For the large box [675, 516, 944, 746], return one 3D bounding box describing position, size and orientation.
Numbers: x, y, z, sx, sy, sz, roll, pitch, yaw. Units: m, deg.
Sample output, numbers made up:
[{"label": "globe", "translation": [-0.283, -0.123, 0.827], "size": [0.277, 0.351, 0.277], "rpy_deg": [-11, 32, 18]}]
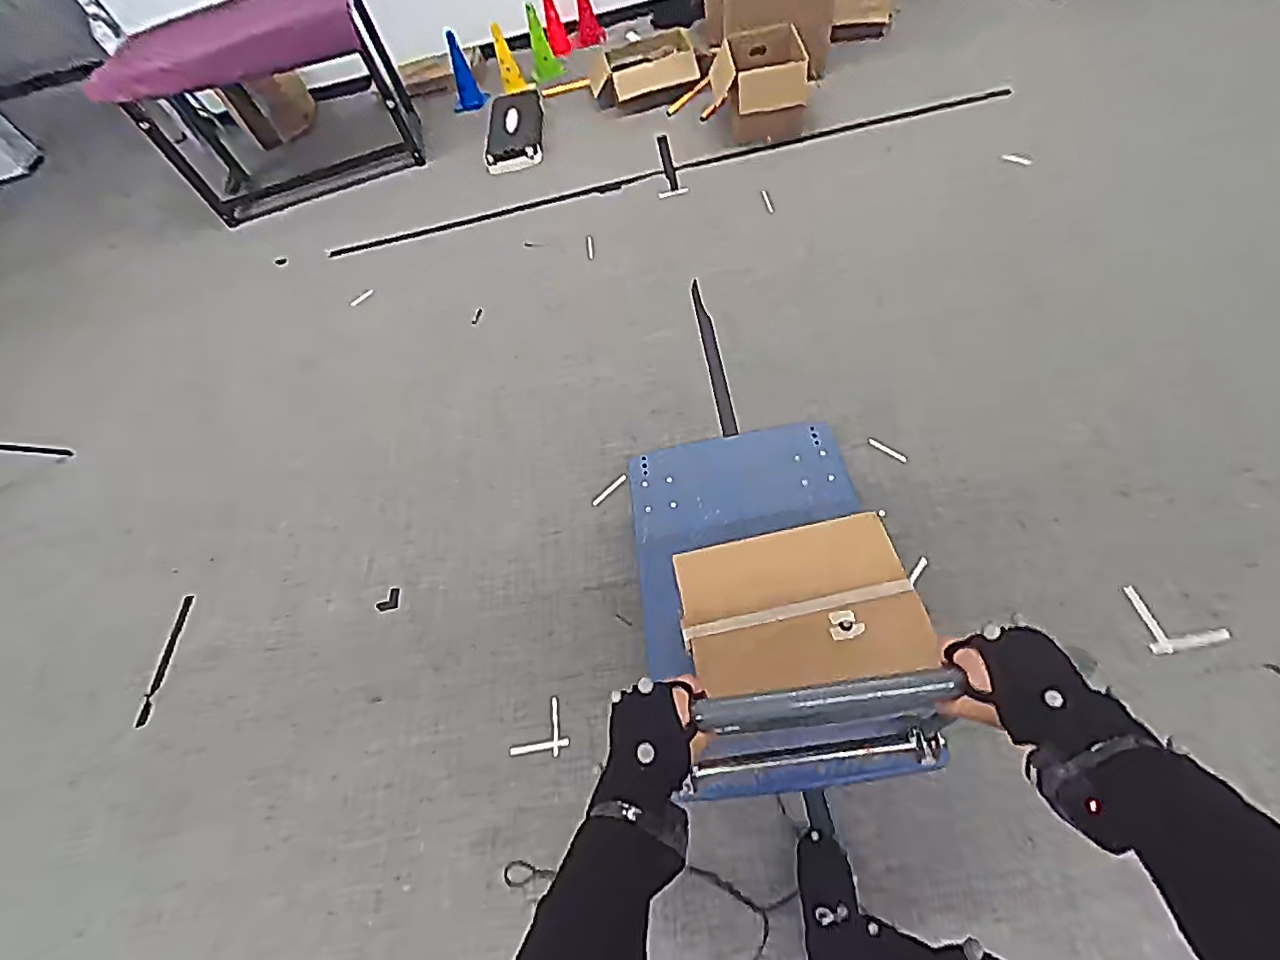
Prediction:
[{"label": "large box", "translation": [0.308, 0.320, 1.101], "size": [0.408, 0.320, 0.320], "rpy_deg": [-13, 57, 2]}]
